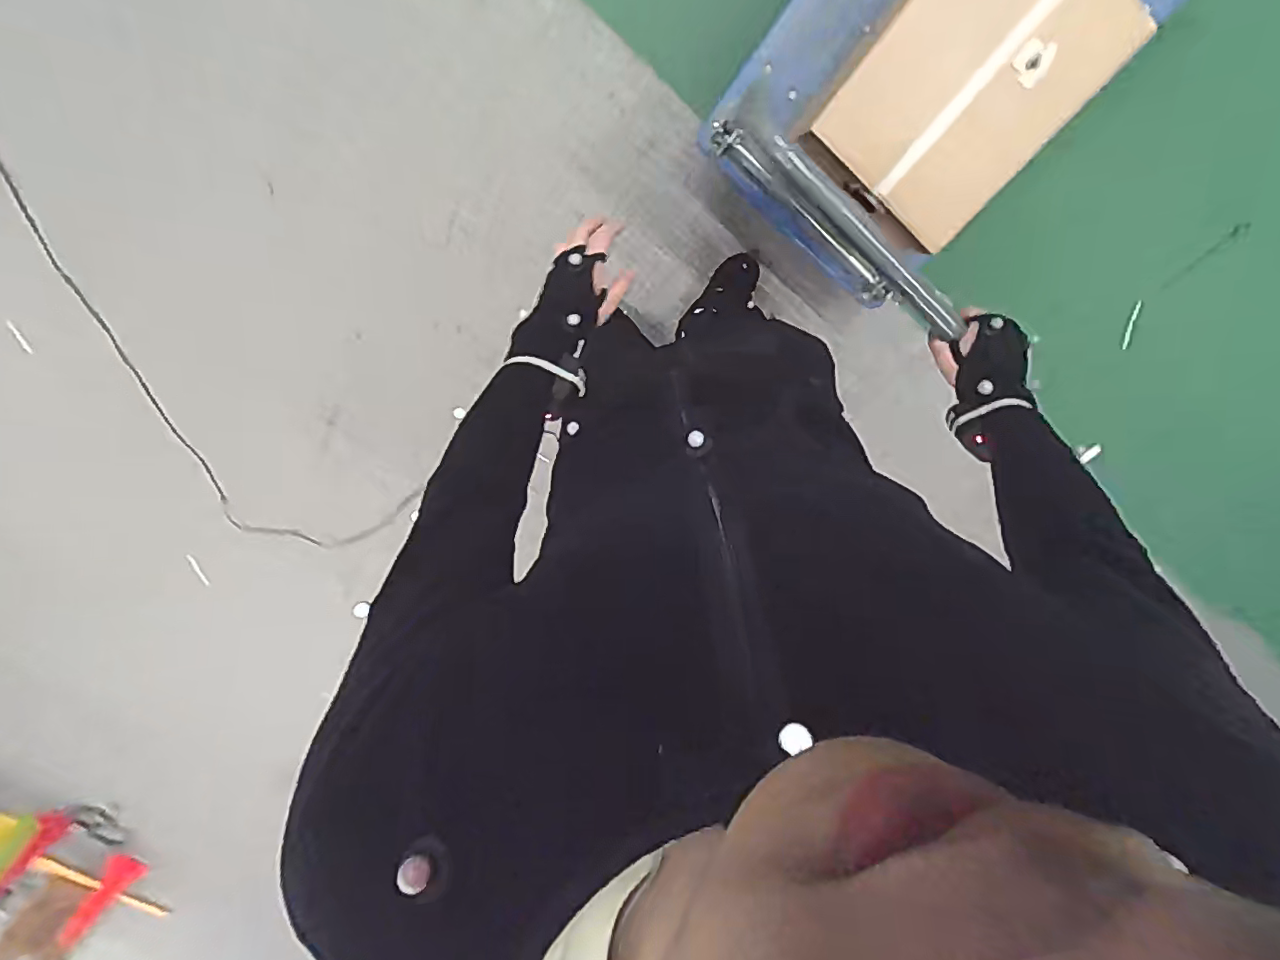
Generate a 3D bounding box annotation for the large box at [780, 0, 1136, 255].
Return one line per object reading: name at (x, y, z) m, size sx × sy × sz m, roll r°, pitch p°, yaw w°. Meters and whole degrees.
large box at (0.525, -0.685, 0.993) m, size 0.320 × 0.320 × 0.408 m, roll 36°, pitch 112°, yaw -14°
